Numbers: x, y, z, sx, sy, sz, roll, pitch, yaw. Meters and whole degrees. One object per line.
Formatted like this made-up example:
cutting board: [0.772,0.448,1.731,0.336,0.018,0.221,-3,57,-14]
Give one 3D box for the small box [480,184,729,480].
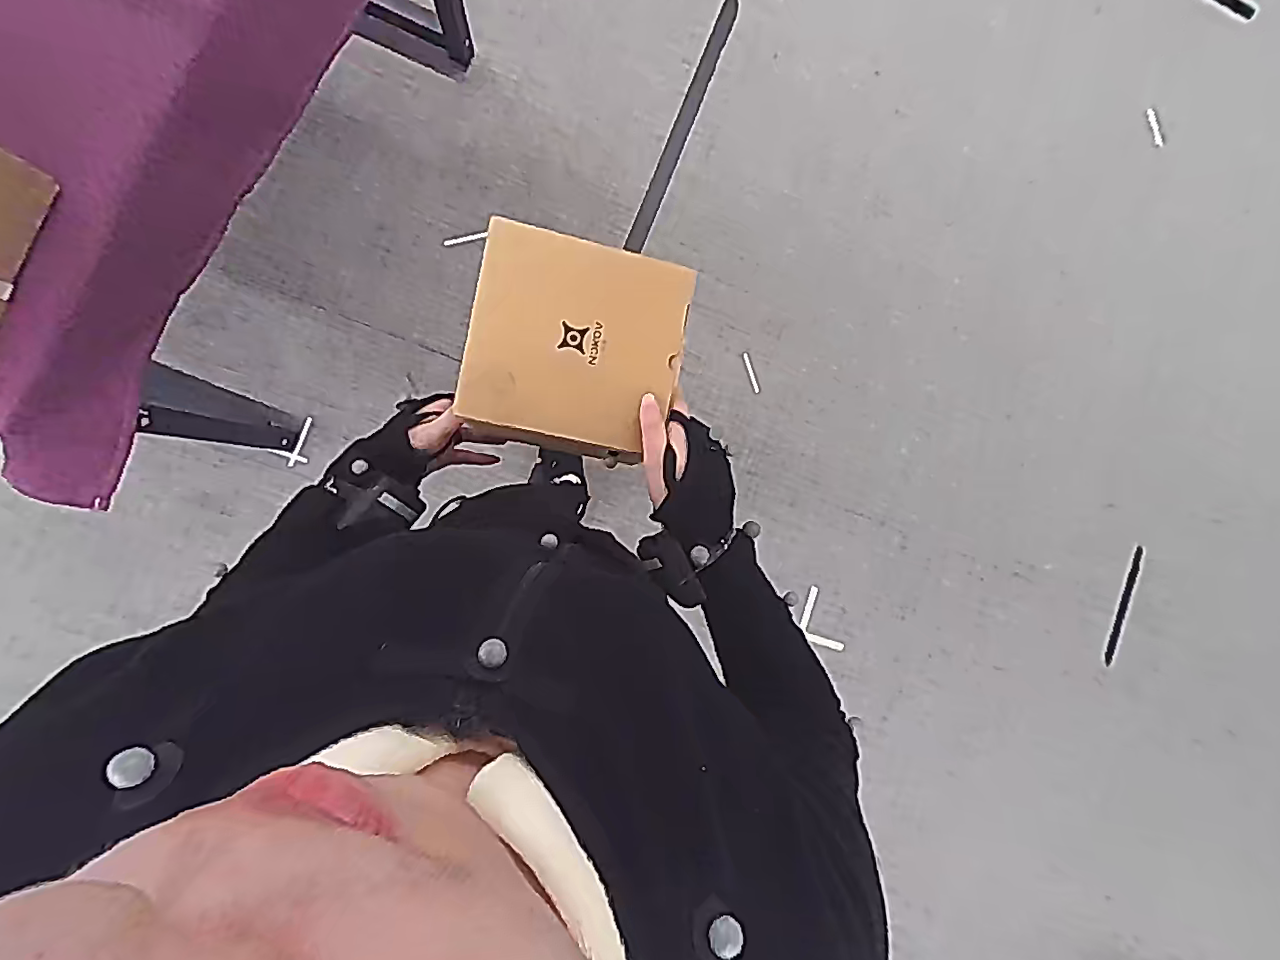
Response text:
small box: [-0.035,-0.114,0.482,0.168,0.176,0.179,11,70,-28]
